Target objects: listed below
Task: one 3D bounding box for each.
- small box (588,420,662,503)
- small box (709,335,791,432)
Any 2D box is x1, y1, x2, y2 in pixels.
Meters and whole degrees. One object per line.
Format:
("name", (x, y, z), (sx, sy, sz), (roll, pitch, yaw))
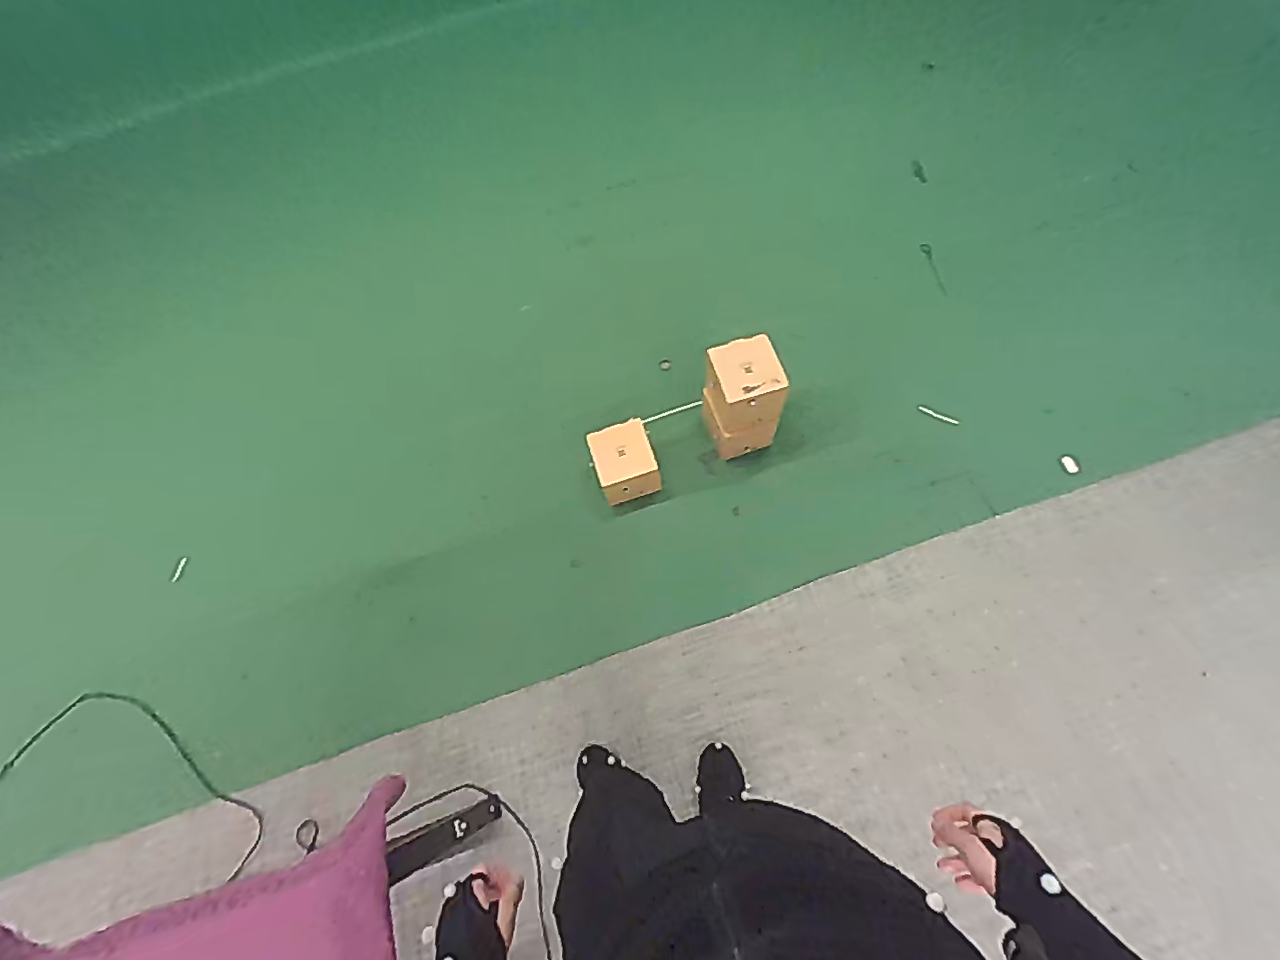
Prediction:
("small box", (-0.039, -0.046, 1.597), (0.168, 0.176, 0.179), (-19, 67, -2))
("small box", (0.290, -0.257, 1.470), (0.168, 0.176, 0.179), (-16, 67, -1))
